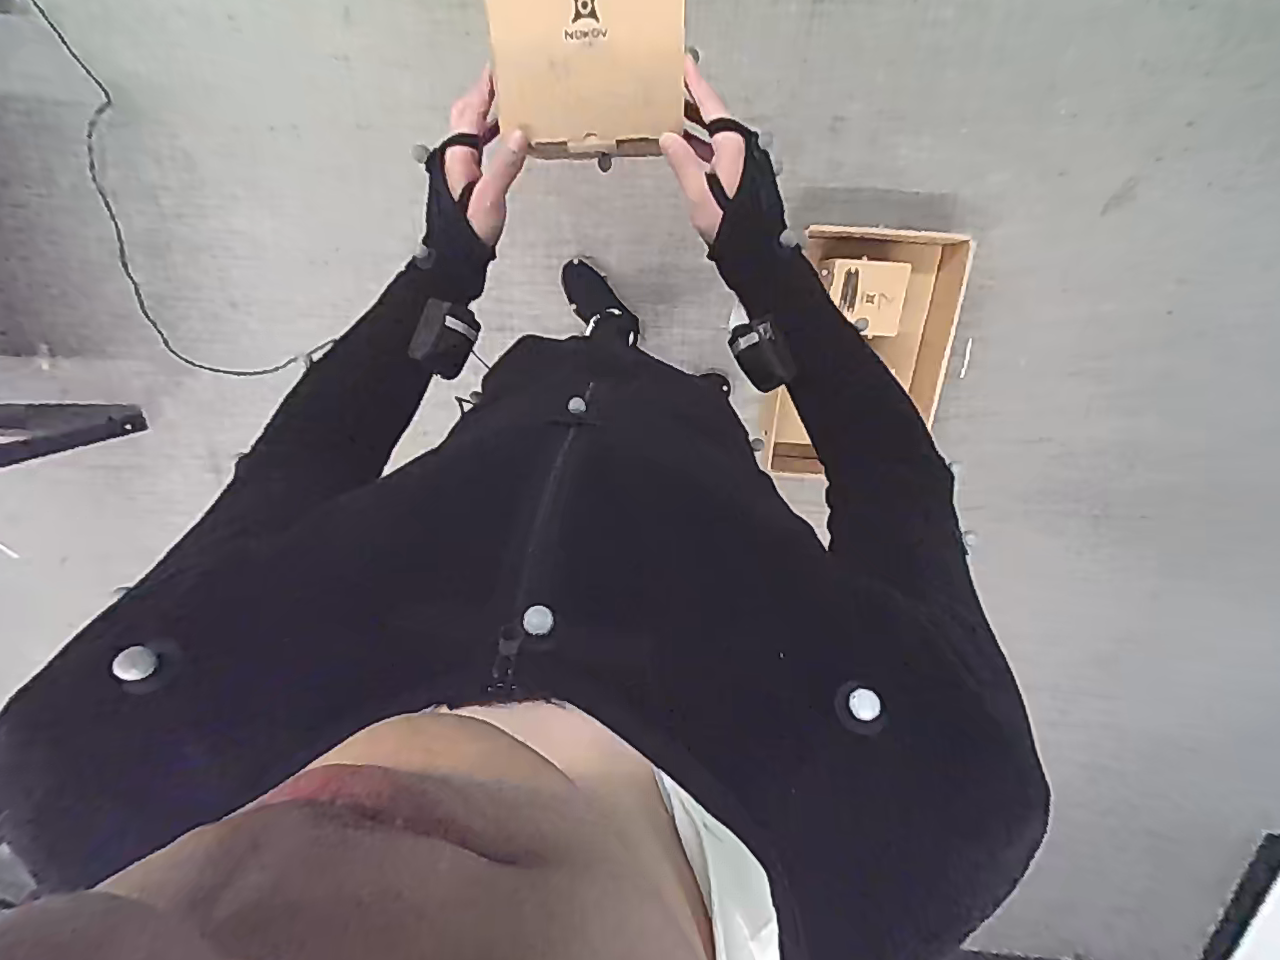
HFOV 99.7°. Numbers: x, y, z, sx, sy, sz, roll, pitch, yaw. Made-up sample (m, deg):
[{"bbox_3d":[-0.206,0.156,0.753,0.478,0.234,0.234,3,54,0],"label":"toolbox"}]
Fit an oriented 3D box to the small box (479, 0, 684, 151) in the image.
[{"bbox_3d":[-0.043,-0.414,0.508,0.168,0.176,0.179,0,118,4],"label":"small box"}]
